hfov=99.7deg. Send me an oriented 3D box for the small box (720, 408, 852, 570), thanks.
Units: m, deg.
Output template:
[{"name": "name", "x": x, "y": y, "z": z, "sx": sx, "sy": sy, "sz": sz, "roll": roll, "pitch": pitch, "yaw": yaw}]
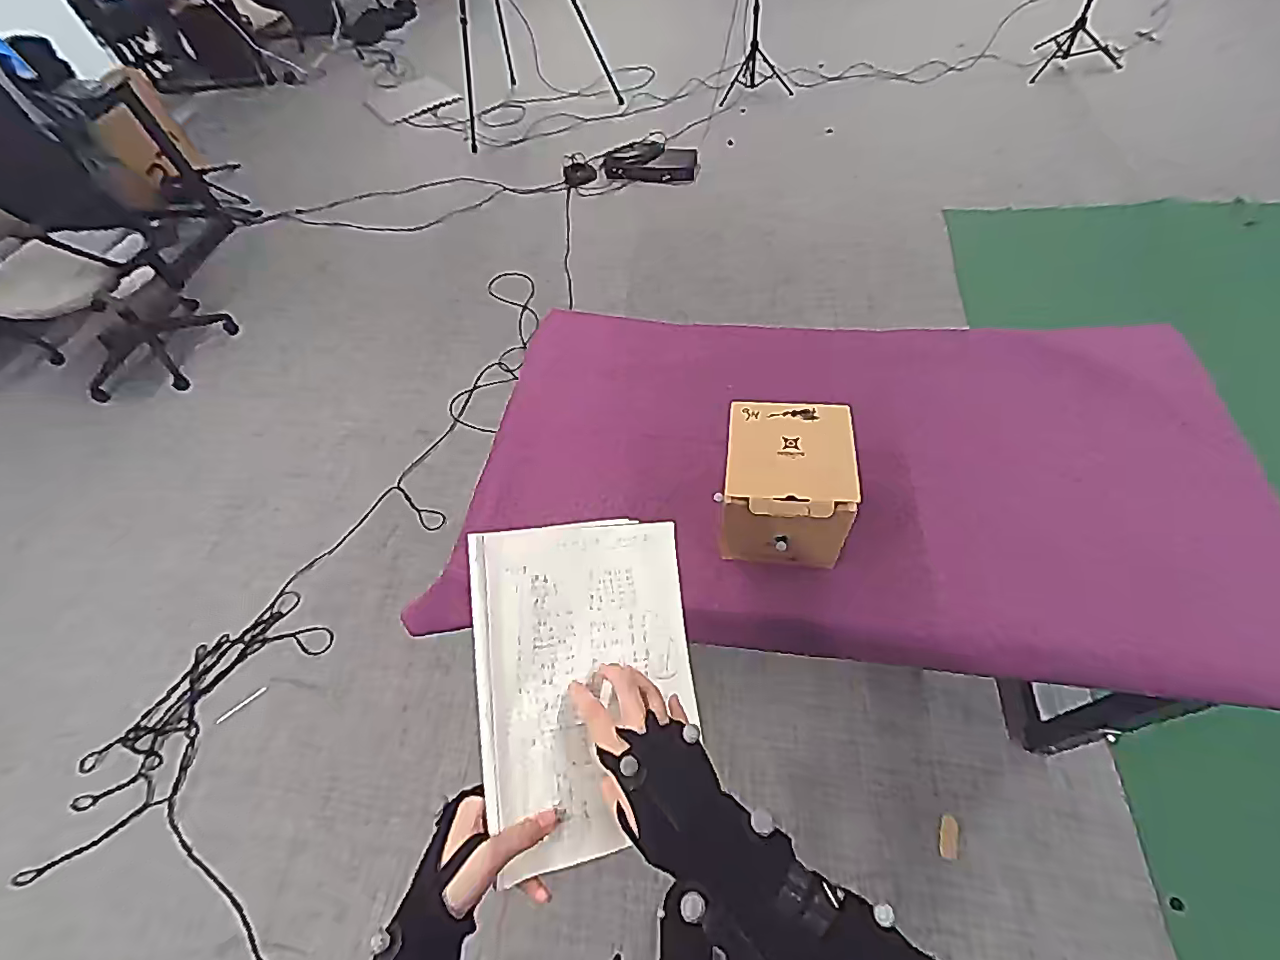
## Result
[{"name": "small box", "x": 0.207, "y": 0.017, "z": 0.792, "sx": 0.168, "sy": 0.176, "sz": 0.179, "roll": 4, "pitch": 56, "yaw": 10}]
